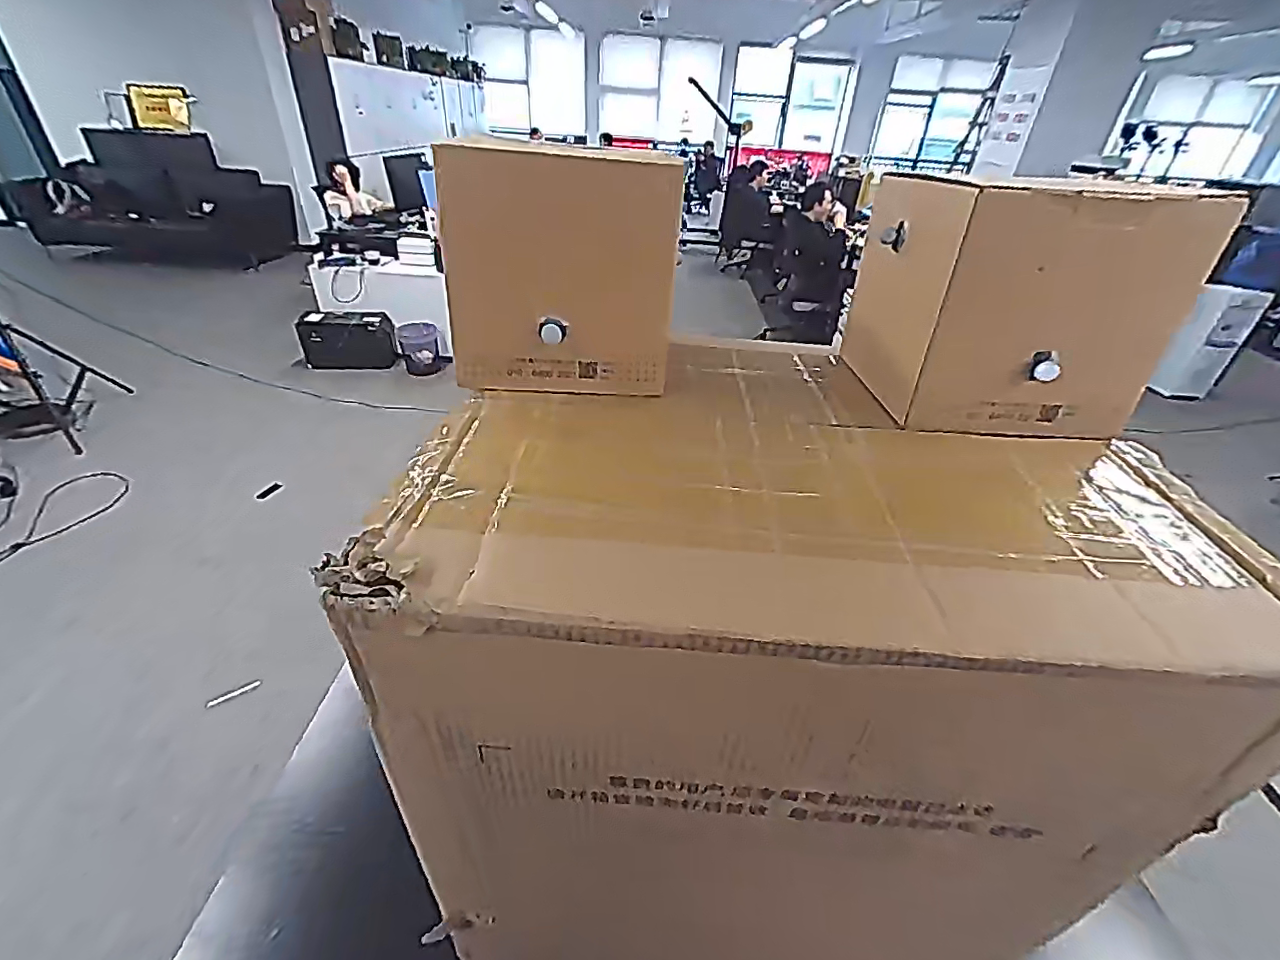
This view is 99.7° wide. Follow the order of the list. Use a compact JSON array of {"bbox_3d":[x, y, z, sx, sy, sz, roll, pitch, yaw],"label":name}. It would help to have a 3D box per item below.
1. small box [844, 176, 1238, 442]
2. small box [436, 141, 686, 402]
[{"bbox_3d":[0.286,-0.147,0.445,0.168,0.176,0.179,2,32,0],"label":"small box"},{"bbox_3d":[-0.062,-0.181,0.462,0.168,0.176,0.179,2,33,-6],"label":"small box"}]
